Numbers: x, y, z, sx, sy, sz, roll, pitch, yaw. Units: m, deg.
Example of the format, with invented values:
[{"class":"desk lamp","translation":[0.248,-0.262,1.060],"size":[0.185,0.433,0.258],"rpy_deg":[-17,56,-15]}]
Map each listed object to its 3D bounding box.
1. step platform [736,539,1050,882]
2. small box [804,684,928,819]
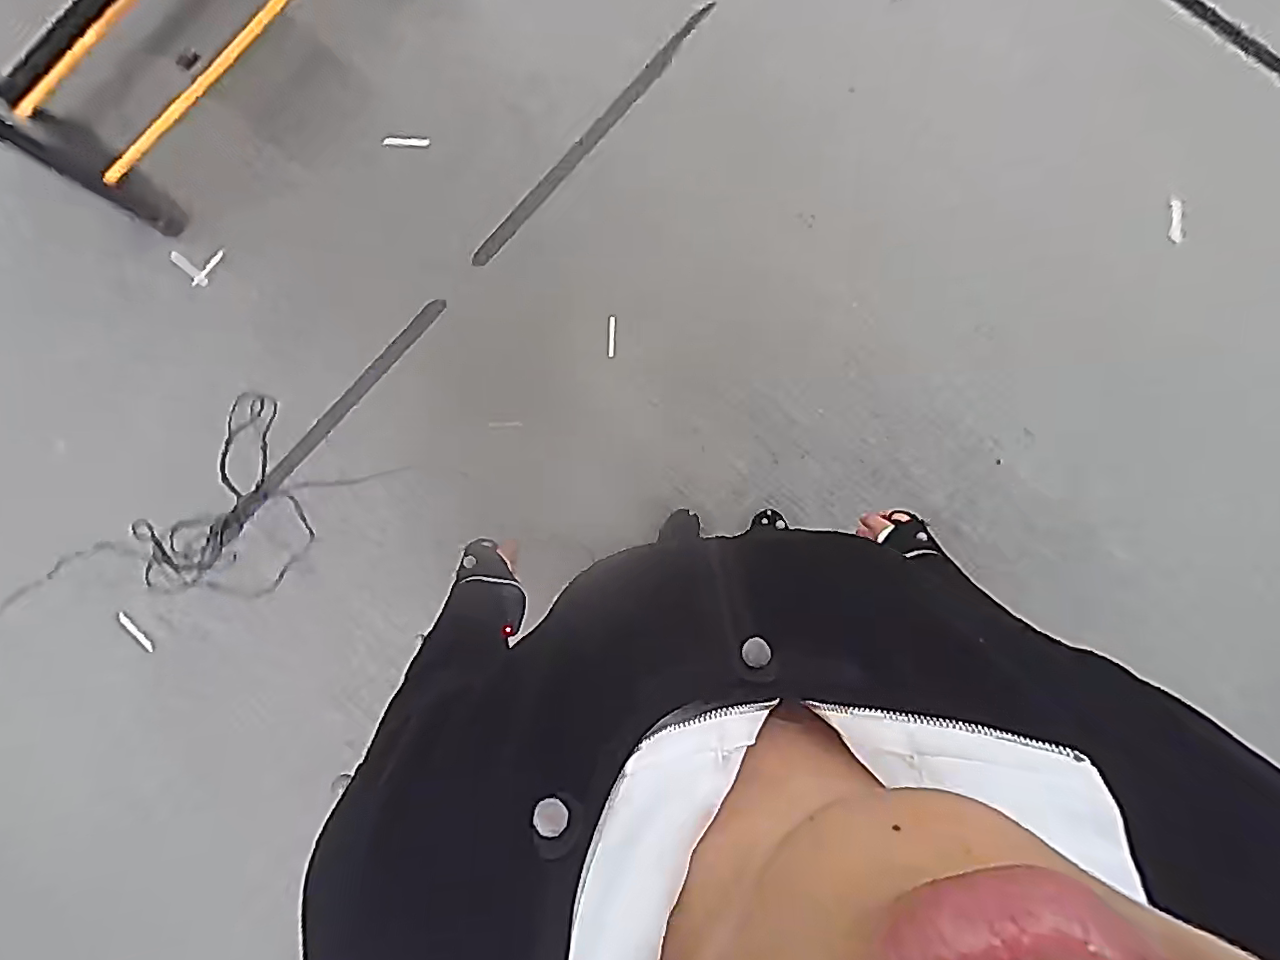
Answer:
[{"class":"step platform","translation":[0.513,0.457,1.154],"size":[0.286,0.204,0.684],"rpy_deg":[40,90,4]},{"class":"small box","translation":[0.476,0.579,1.184],"size":[0.168,0.176,0.179],"rpy_deg":[40,89,3]}]
